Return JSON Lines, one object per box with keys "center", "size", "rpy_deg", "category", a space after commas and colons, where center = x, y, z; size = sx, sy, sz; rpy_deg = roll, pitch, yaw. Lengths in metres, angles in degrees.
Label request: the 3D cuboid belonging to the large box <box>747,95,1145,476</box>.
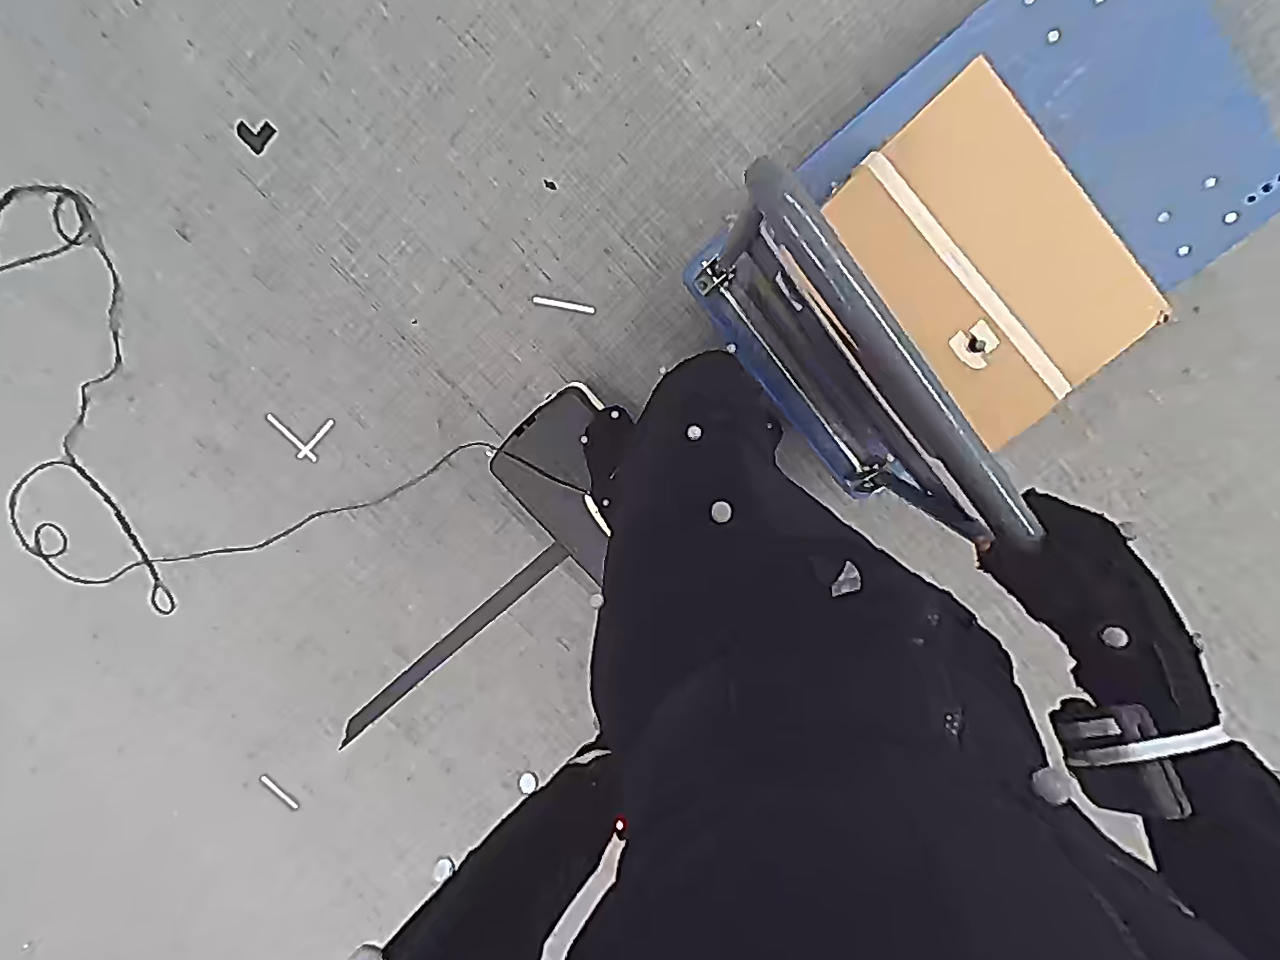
{"center": [0.432, -0.277, 0.865], "size": [0.320, 0.320, 0.408], "rpy_deg": [-43, 98, 13], "category": "large box"}
